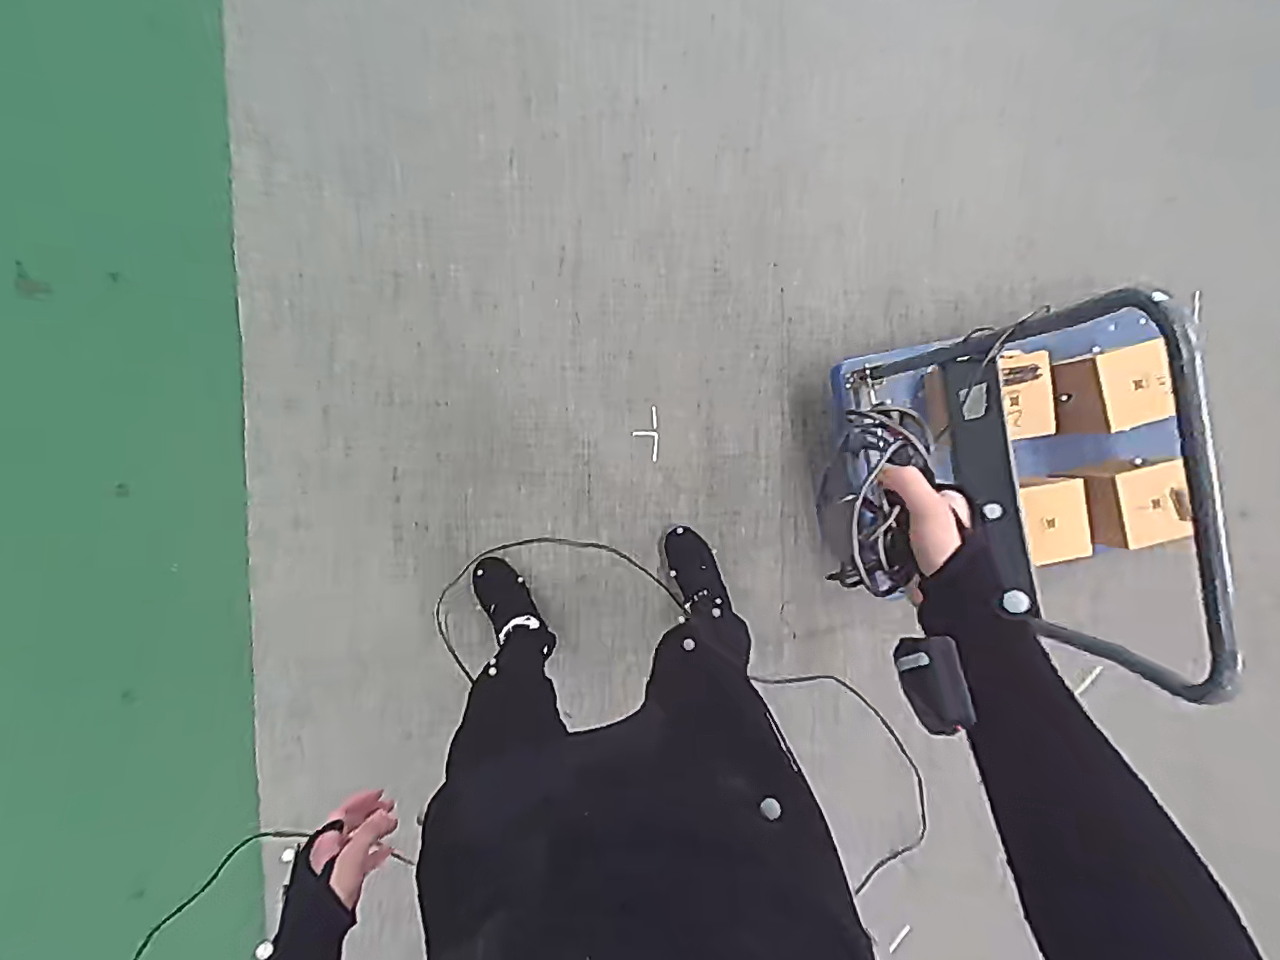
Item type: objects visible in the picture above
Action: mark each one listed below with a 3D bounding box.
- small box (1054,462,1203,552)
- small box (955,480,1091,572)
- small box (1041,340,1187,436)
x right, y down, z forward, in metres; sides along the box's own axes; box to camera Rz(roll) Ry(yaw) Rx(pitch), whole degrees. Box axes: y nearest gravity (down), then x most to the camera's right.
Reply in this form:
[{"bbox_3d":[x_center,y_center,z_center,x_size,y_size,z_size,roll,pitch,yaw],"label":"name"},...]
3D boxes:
[{"bbox_3d":[1.085,0.053,1.212,0.179,0.176,0.168,-12,92,-3],"label":"small box"},{"bbox_3d":[0.839,0.094,1.196,0.179,0.176,0.168,-9,92,-3],"label":"small box"},{"bbox_3d":[1.035,-0.196,1.200,0.179,0.176,0.168,-15,94,-4],"label":"small box"}]
